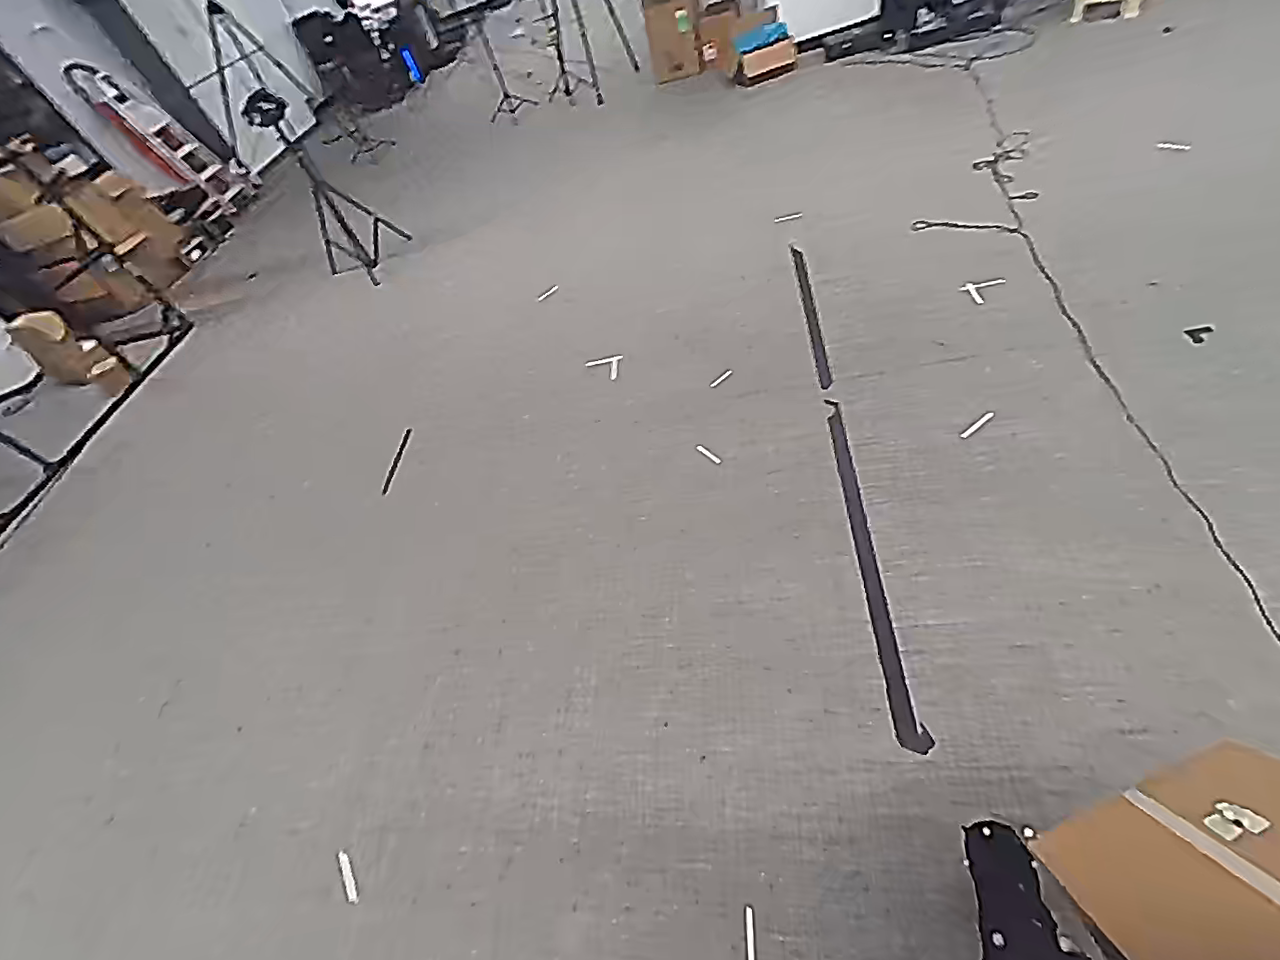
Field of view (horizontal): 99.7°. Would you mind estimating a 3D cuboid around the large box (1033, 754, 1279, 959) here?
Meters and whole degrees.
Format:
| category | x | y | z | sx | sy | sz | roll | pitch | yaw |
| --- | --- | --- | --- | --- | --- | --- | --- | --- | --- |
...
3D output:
| category | x | y | z | sx | sy | sz | roll | pitch | yaw |
| --- | --- | --- | --- | --- | --- | --- | --- | --- | --- |
| large box | 0.732 | 0.559 | 0.547 | 0.320 | 0.408 | 0.320 | -31 | 77 | 7 |
